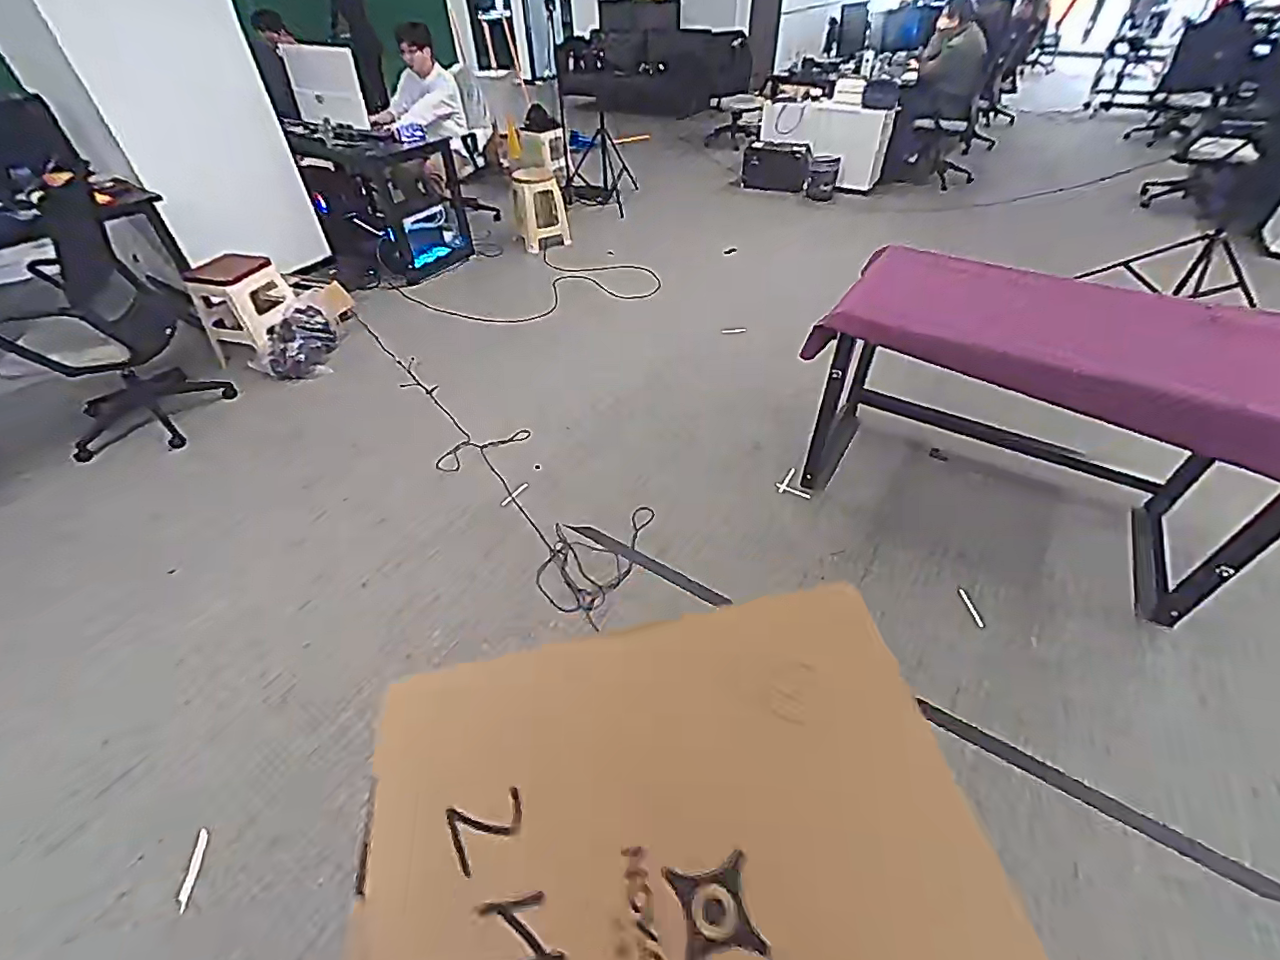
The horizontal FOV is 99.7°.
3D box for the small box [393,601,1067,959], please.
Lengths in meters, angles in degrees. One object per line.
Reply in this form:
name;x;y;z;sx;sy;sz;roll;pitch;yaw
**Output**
small box;0.024;0.171;0.207;0.179;0.176;0.168;-11;50;-4
